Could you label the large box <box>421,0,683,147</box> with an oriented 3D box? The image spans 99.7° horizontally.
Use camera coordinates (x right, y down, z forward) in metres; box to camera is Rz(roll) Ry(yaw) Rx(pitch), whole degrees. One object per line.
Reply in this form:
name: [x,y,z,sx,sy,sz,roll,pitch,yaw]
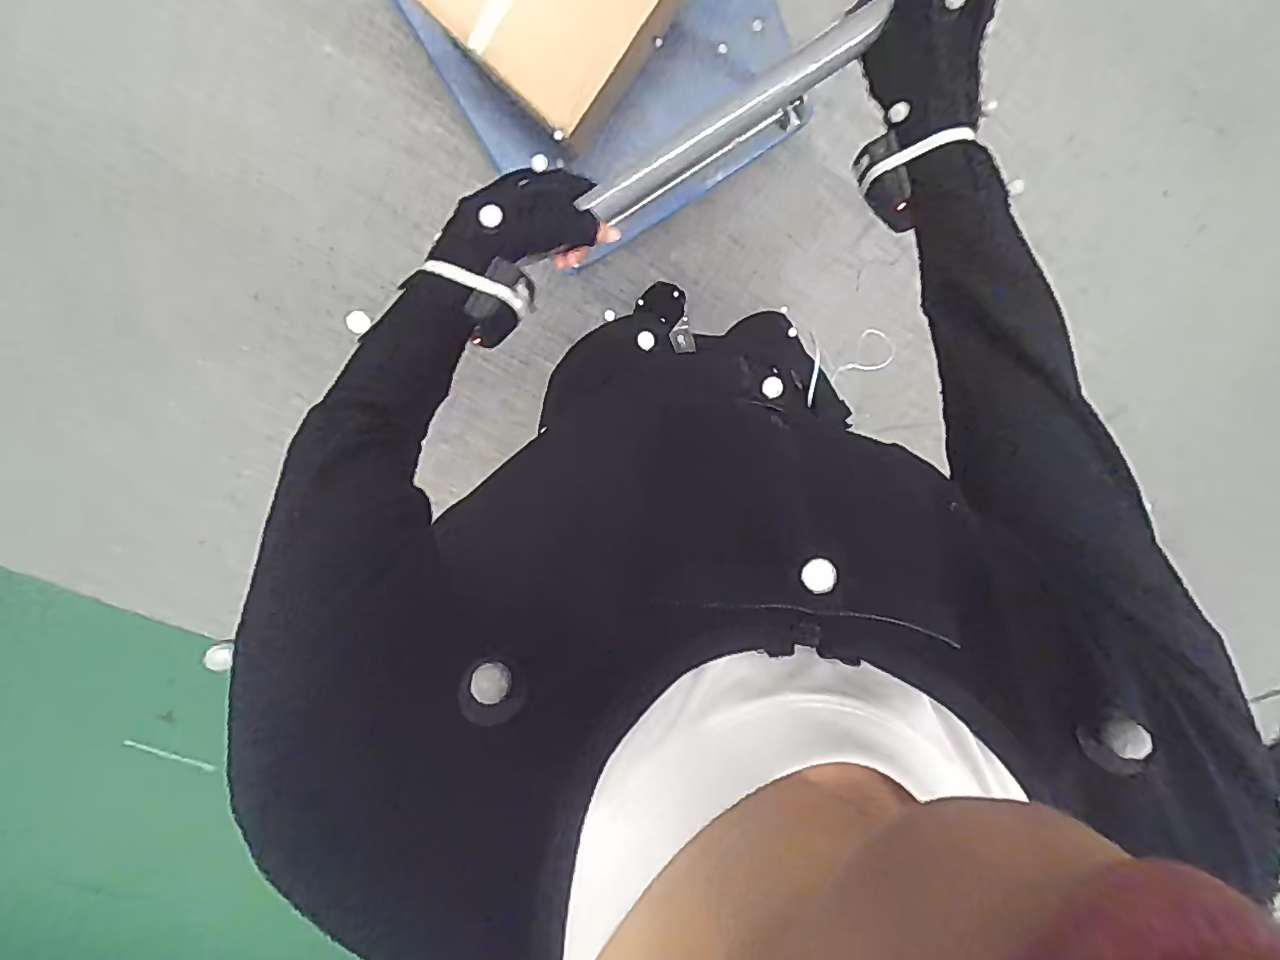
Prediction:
large box: [-0.092,-0.791,0.799,0.320,0.320,0.408,36,111,-17]
